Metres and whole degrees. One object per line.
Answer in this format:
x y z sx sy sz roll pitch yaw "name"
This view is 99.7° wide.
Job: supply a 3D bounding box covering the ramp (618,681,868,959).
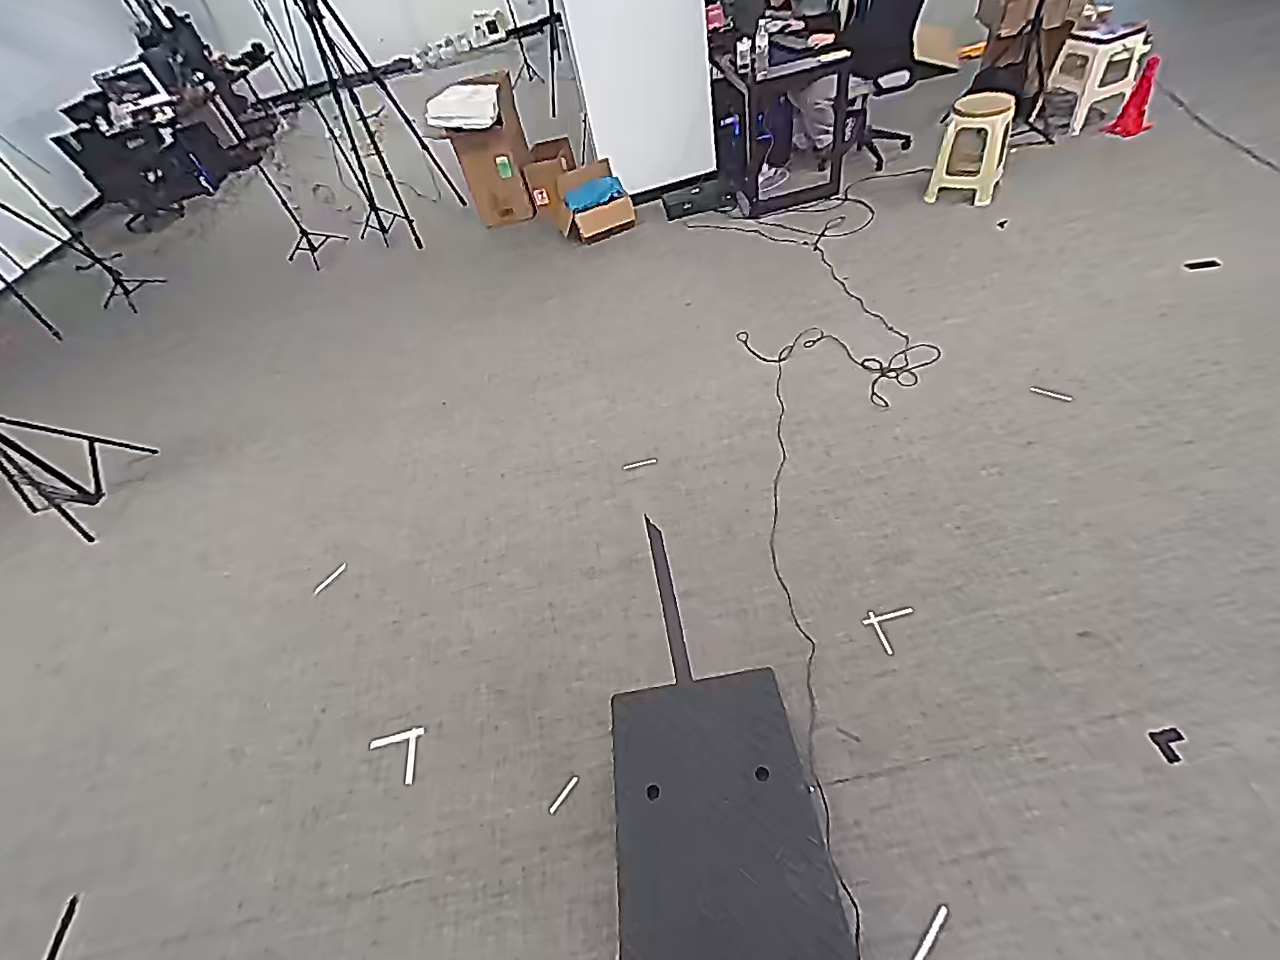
0.210 0.941 1.212 0.509 0.206 0.991 -15 46 3 "ramp"
